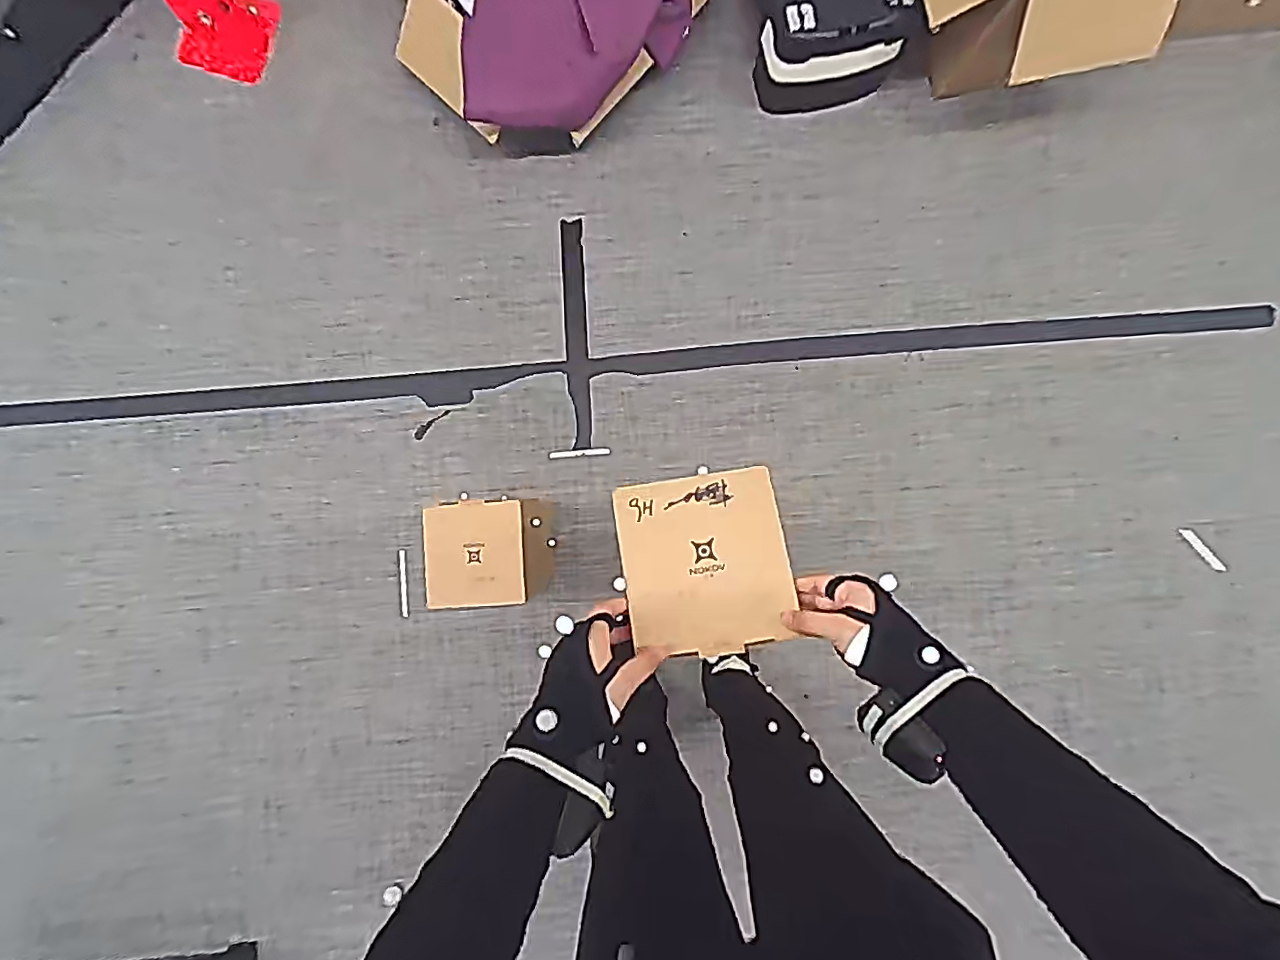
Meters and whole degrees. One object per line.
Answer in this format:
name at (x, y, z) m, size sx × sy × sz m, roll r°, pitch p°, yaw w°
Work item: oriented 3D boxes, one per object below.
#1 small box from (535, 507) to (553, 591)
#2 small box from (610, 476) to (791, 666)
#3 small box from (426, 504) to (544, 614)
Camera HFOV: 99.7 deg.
small box at (-0.281, 0.143, 1.144) m, size 0.179 × 0.176 × 0.168 m, roll -2°, pitch 88°, yaw 0°
small box at (0.062, 0.107, 0.629) m, size 0.168 × 0.176 × 0.179 m, roll -8°, pitch 76°, yaw -1°
small box at (-0.273, 0.134, 0.982) m, size 0.168 × 0.176 × 0.179 m, roll -4°, pitch 90°, yaw 1°
